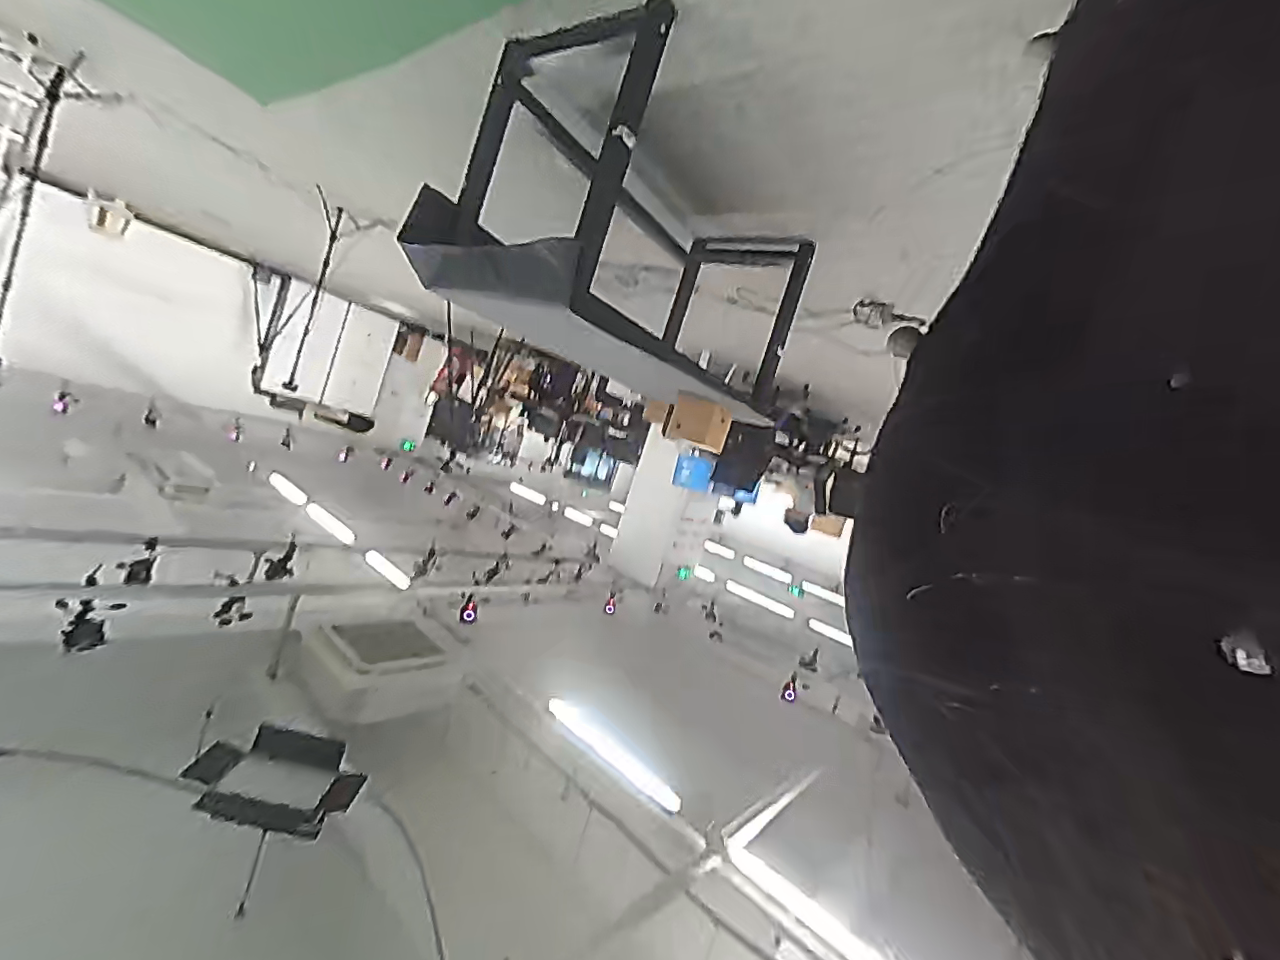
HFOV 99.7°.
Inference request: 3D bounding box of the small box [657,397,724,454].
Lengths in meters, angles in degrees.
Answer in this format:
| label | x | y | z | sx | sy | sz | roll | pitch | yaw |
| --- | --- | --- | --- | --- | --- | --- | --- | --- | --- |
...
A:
| label | x | y | z | sx | sy | sz | roll | pitch | yaw |
| --- | --- | --- | --- | --- | --- | --- | --- | --- | --- |
| small box | 0.198 | -0.212 | 2.074 | 0.179 | 0.176 | 0.168 | 19 | -177 | 32 |
